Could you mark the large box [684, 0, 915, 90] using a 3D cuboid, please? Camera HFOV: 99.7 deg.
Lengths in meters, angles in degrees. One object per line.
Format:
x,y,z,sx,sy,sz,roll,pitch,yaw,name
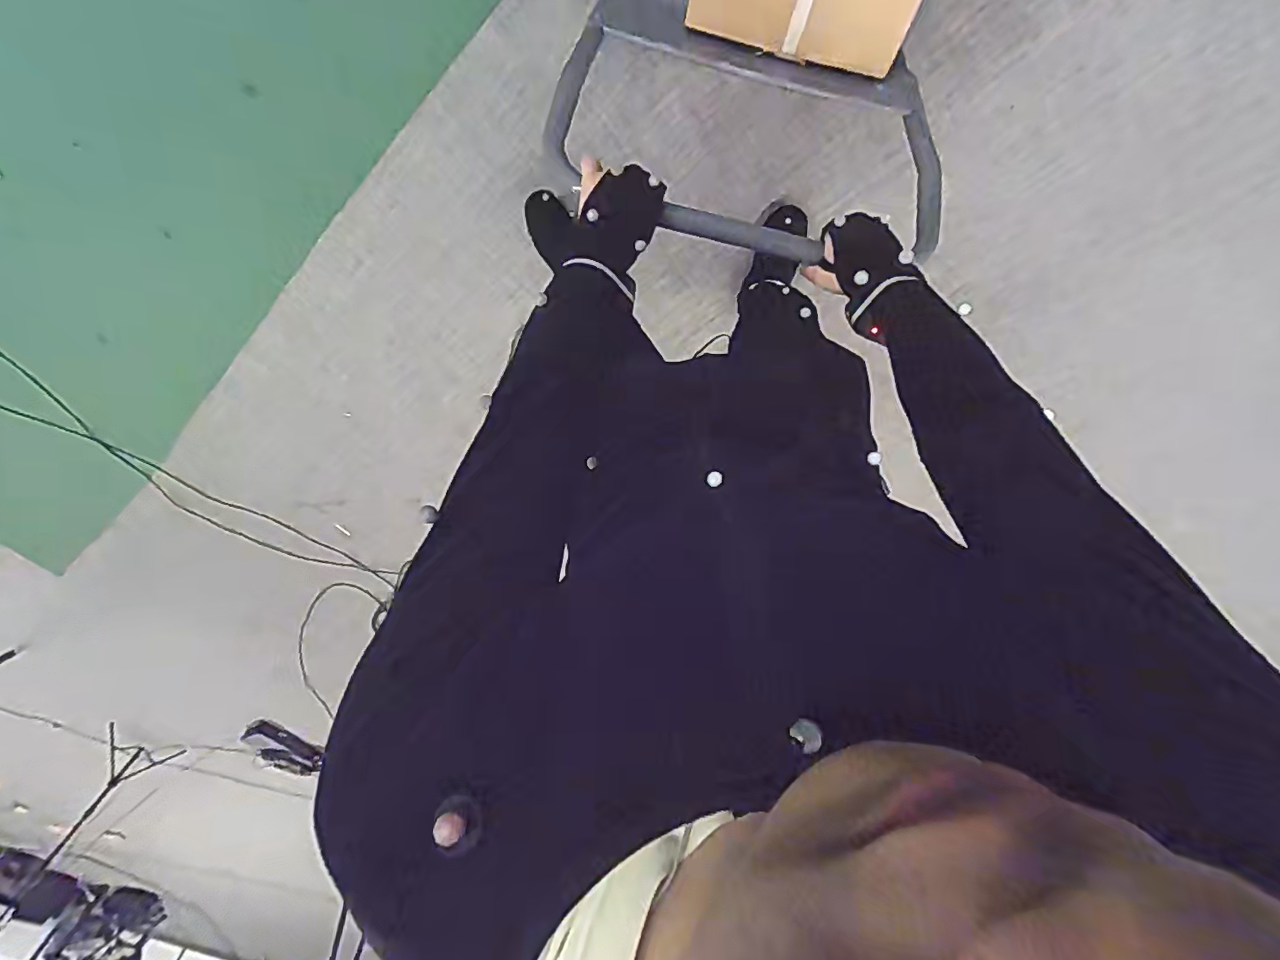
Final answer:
0.269,-0.866,0.765,0.320,0.320,0.408,12,142,-4,large box
